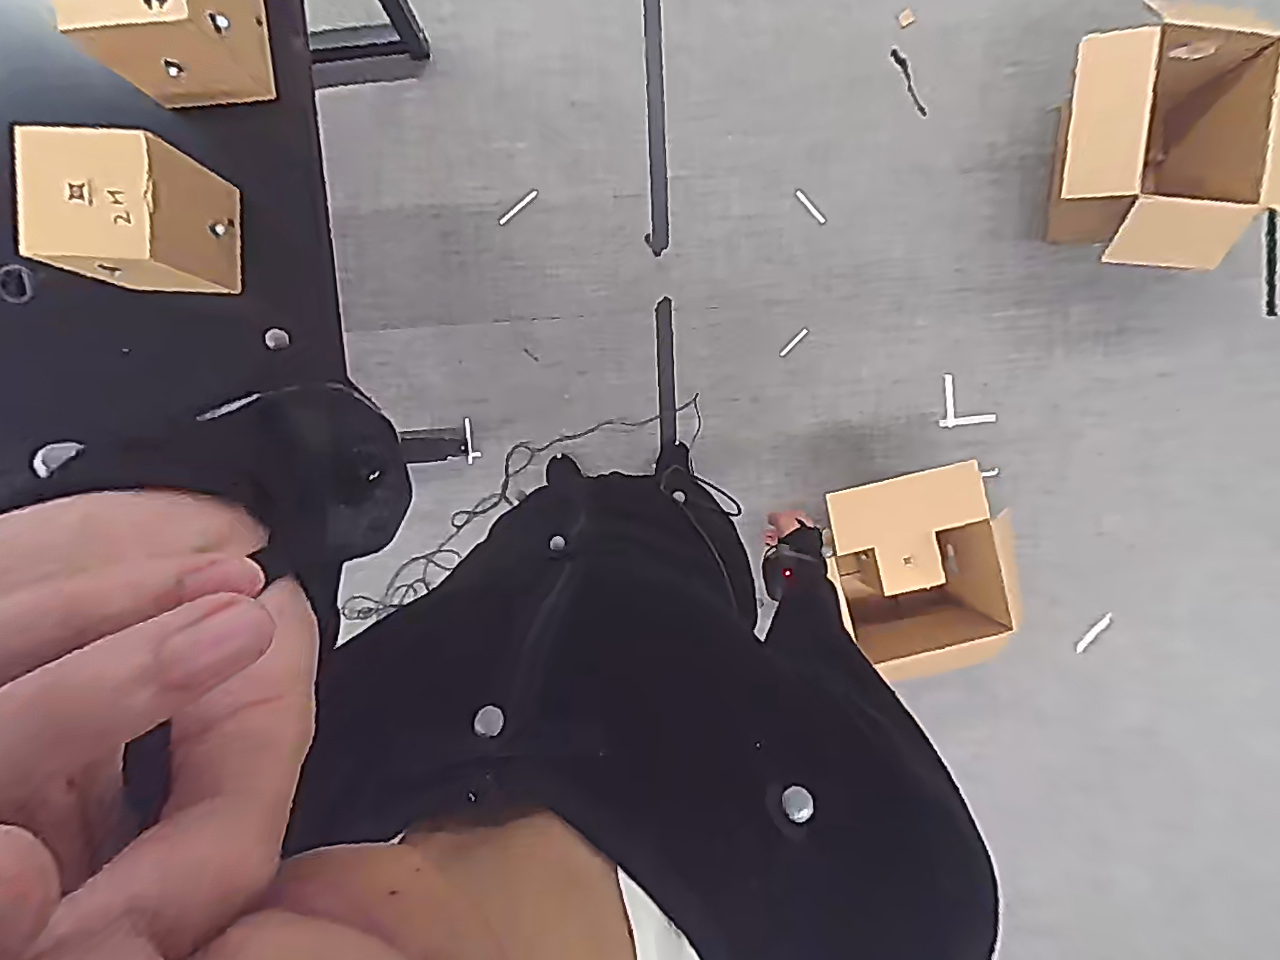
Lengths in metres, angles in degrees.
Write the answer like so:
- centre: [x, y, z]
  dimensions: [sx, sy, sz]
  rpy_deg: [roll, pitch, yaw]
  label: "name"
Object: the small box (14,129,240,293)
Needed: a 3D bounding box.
- centre: [-0.731, -0.379, 0.788]
  dimensions: [0.179, 0.176, 0.168]
  rpy_deg: [1, 95, -1]
  label: "small box"
